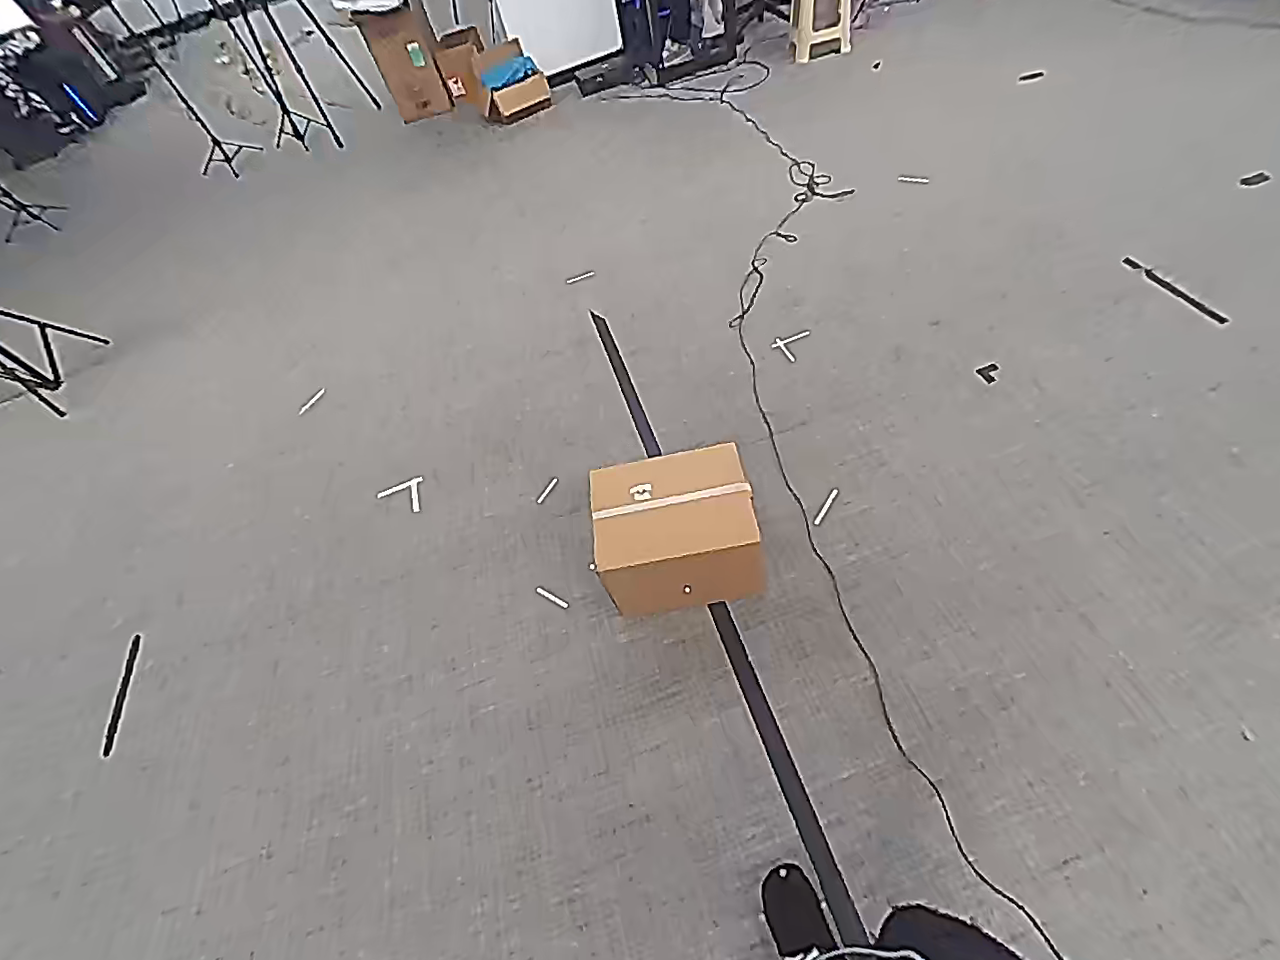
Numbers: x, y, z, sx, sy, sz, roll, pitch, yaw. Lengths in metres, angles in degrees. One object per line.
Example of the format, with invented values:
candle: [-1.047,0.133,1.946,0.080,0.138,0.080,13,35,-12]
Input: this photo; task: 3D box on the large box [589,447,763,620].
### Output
large box: [0.101,0.157,1.484,0.408,0.320,0.320,-12,52,7]
